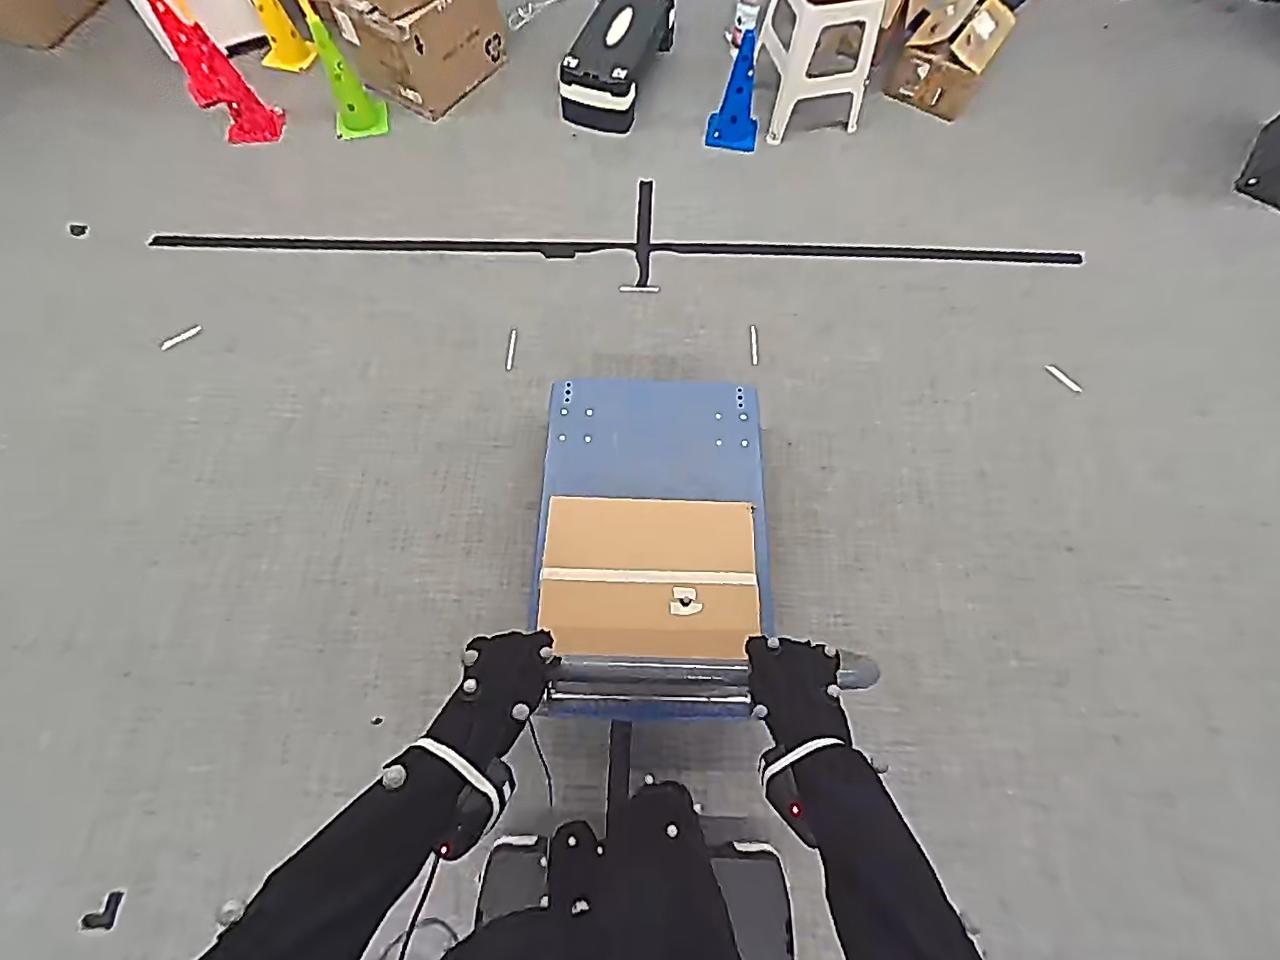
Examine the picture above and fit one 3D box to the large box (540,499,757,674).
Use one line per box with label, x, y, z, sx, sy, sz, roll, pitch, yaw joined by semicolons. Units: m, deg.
large box;0.012;0.245;1.172;0.408;0.320;0.320;2;67;-1
